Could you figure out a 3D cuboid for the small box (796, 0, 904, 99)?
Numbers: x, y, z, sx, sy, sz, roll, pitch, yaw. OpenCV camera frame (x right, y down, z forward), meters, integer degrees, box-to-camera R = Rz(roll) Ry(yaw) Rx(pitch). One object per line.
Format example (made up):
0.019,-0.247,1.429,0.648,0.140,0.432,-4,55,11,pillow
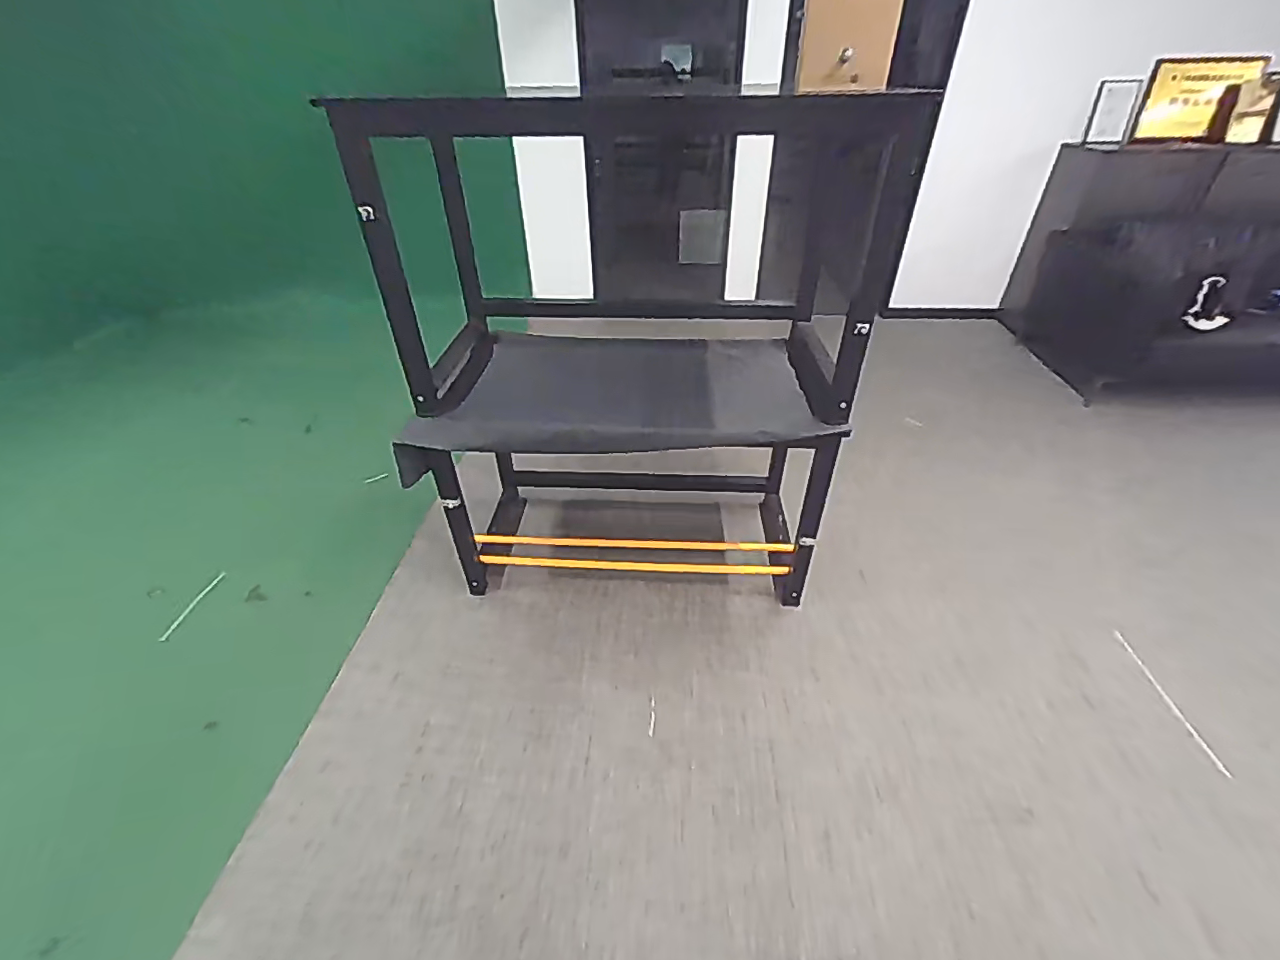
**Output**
0.410,-0.870,1.082,0.168,0.176,0.179,5,37,9,small box
